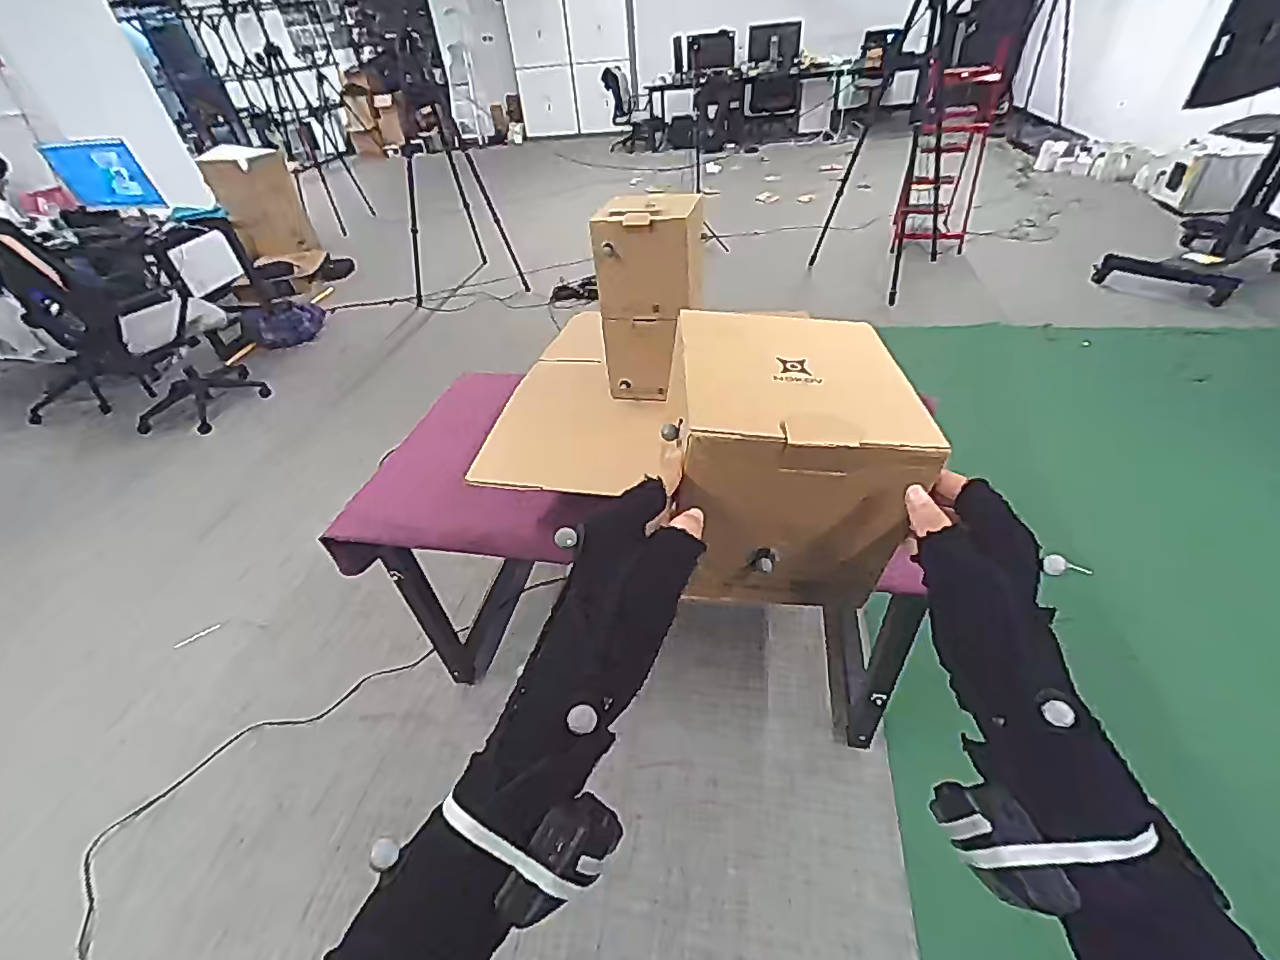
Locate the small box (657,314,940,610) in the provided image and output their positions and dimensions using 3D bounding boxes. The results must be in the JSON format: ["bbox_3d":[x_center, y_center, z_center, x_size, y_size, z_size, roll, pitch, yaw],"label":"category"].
[{"bbox_3d":[0.104,-0.016,0.452,0.168,0.176,0.179,4,43,-2],"label":"small box"}]

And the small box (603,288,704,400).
[{"bbox_3d":[0.037,-0.272,1.084,0.168,0.176,0.179,5,40,13],"label":"small box"}]
